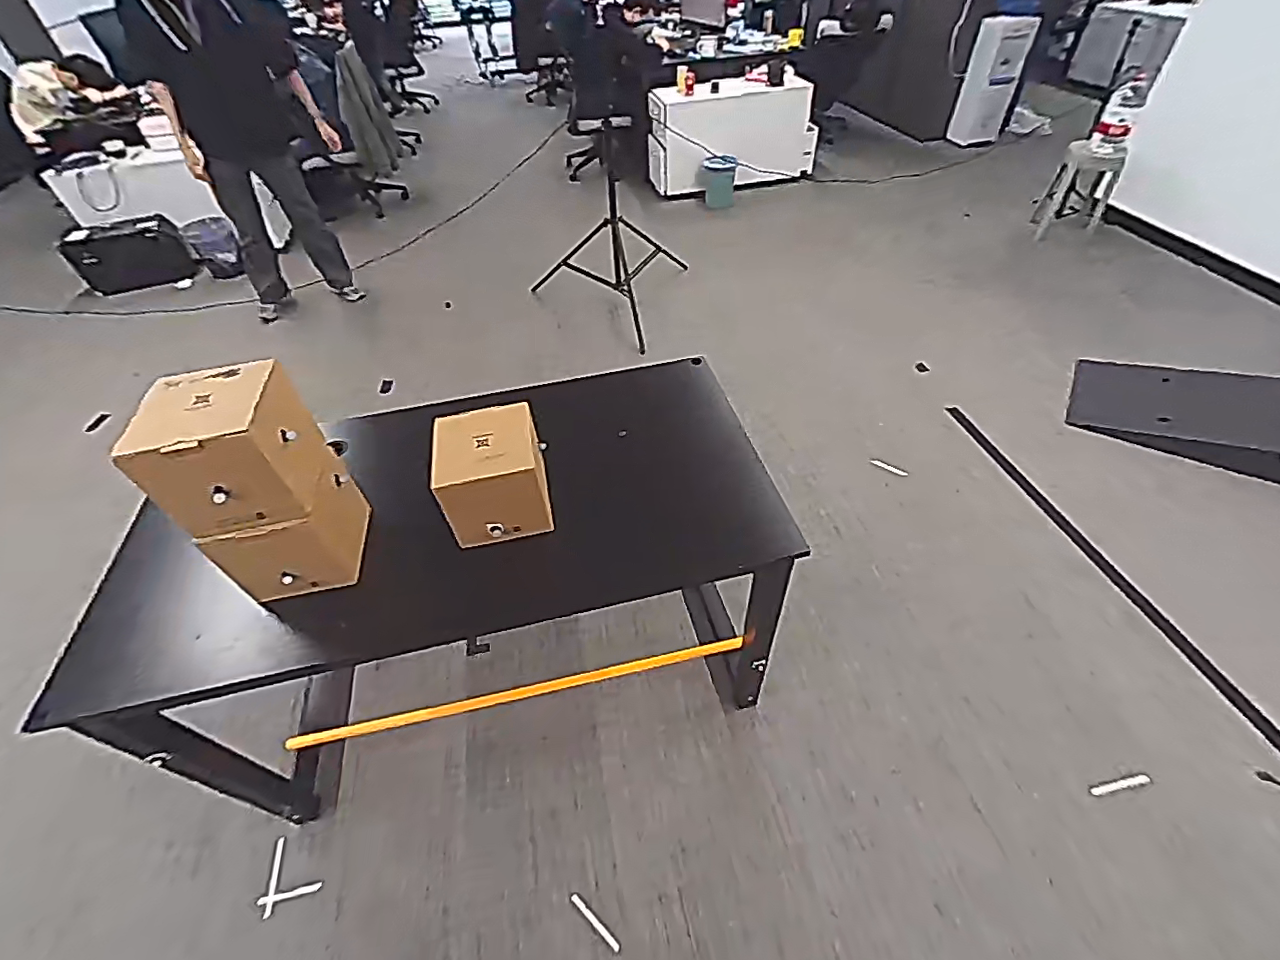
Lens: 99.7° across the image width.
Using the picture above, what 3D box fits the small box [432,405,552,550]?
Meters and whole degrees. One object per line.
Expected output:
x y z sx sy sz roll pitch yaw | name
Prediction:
-0.259 -0.004 0.963 0.168 0.176 0.179 -13 48 -6 | small box

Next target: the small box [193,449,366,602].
-0.582 0.077 0.905 0.168 0.176 0.179 -11 47 -6 | small box

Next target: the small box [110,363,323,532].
-0.594 -0.042 0.792 0.168 0.176 0.179 -12 48 -8 | small box
